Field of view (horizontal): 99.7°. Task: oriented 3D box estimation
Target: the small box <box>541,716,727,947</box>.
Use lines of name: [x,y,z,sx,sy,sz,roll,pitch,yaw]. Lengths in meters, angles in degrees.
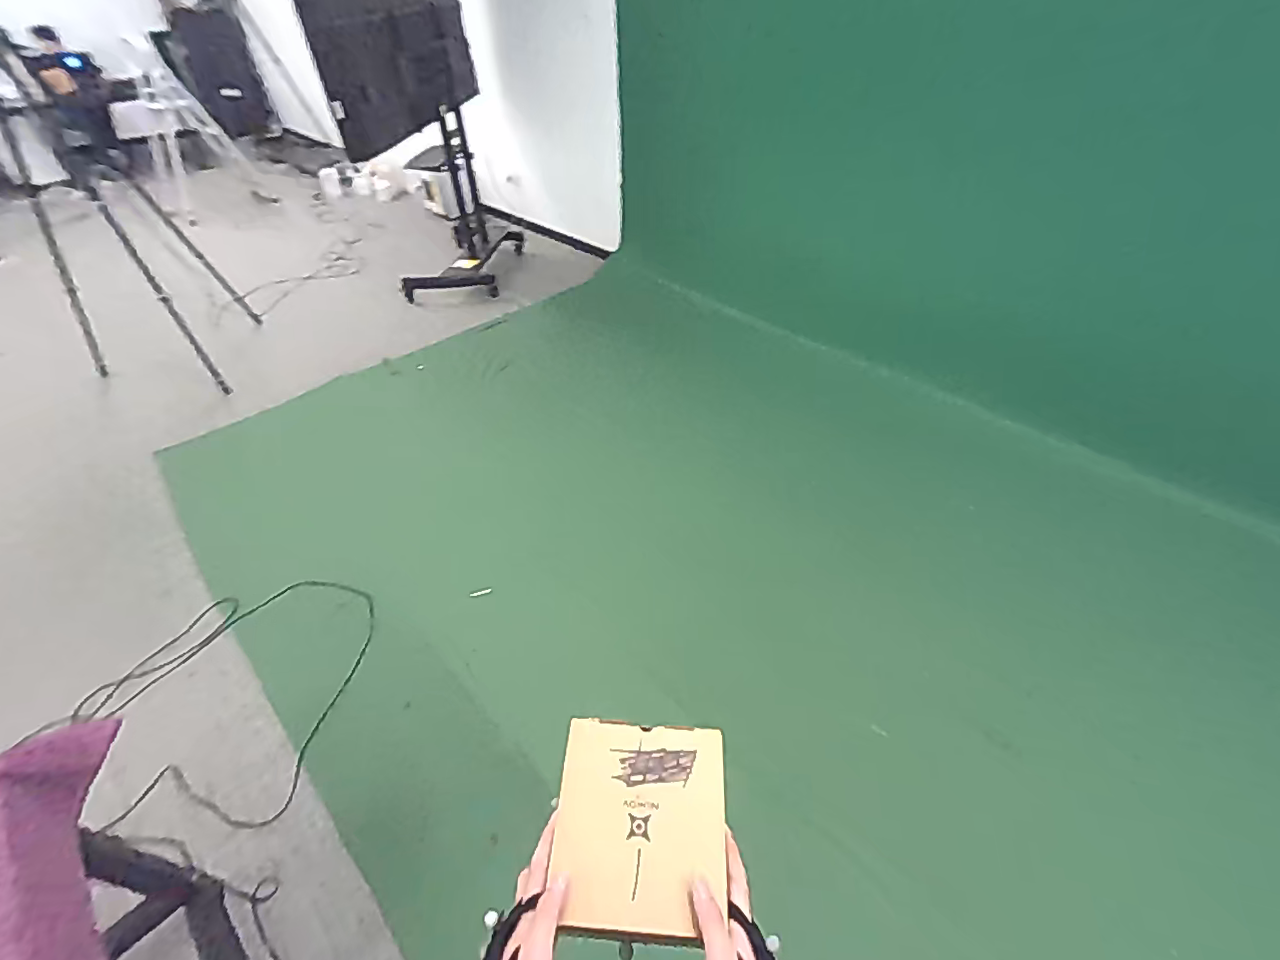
small box: [-0.002,0.377,0.581,0.168,0.176,0.179,3,48,2]
